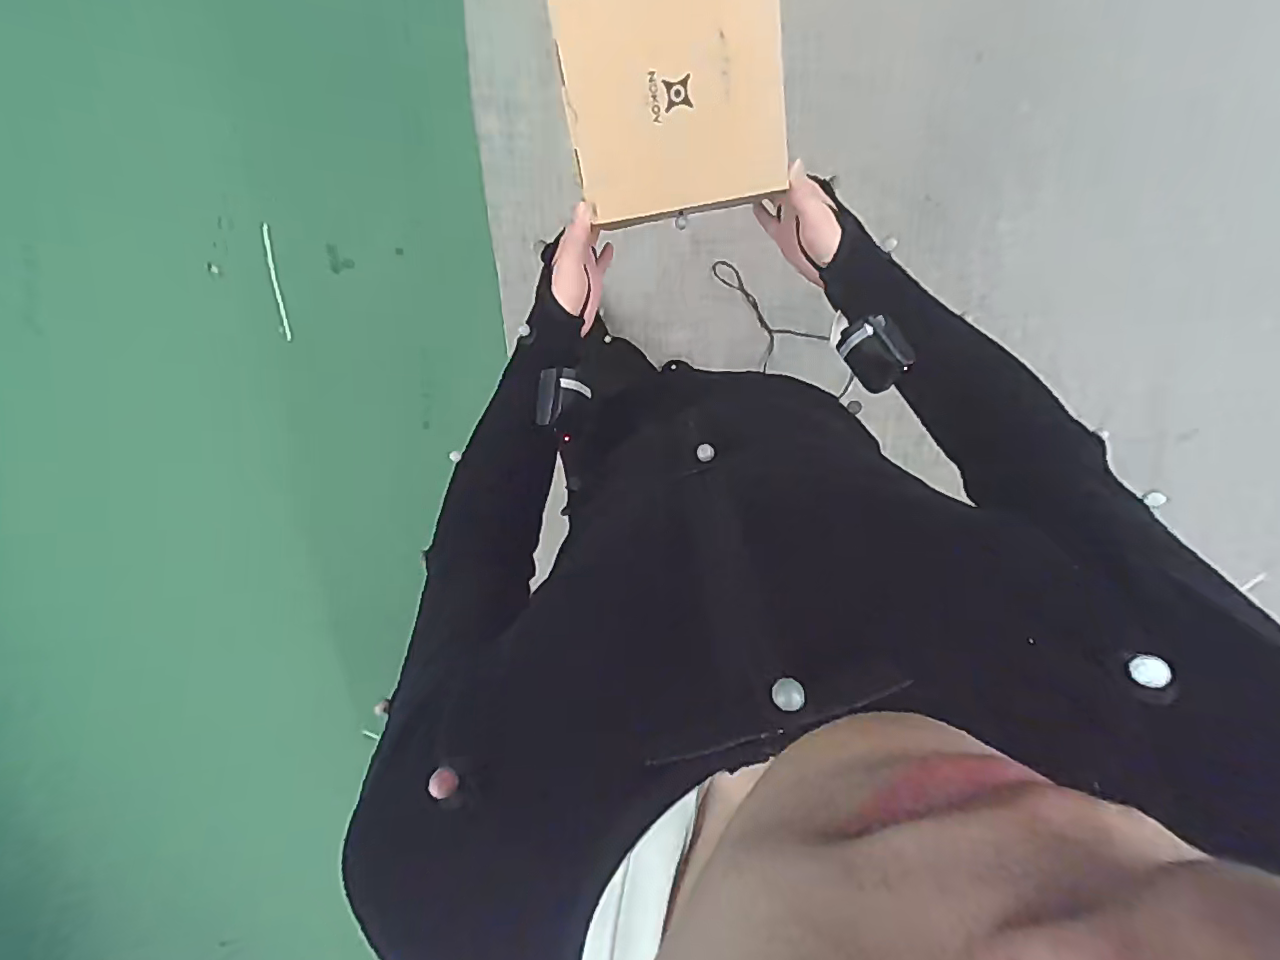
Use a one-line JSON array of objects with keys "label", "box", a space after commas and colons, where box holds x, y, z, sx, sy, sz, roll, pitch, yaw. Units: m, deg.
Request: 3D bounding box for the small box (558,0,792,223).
[{"label": "small box", "box": [0.038, -0.342, 0.504, 0.179, 0.176, 0.168, -6, 114, 6]}]

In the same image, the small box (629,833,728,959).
[{"label": "small box", "box": [0.075, 0.850, 1.089, 0.179, 0.176, 0.168, 5, 108, 3]}]
